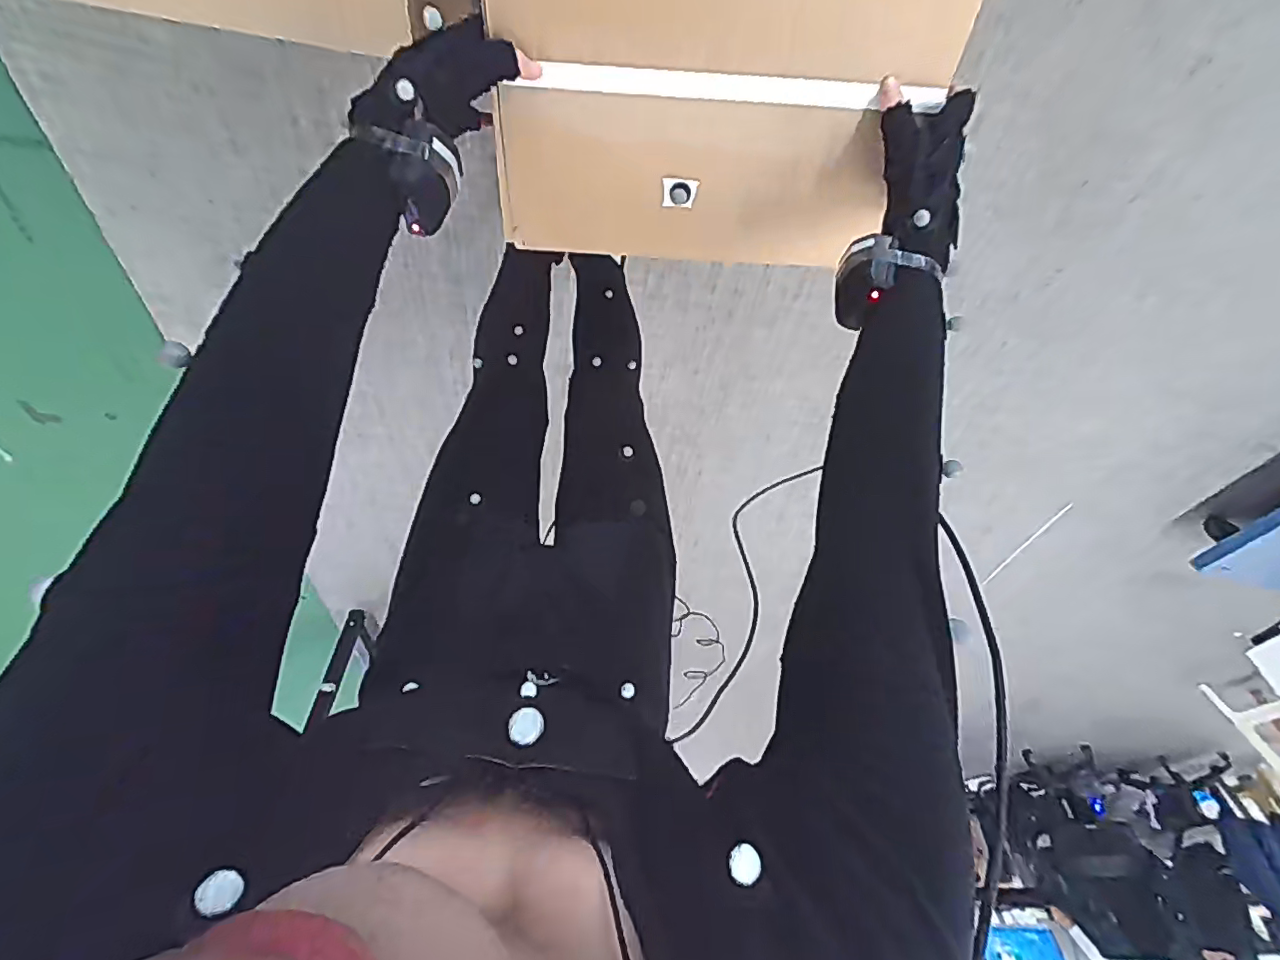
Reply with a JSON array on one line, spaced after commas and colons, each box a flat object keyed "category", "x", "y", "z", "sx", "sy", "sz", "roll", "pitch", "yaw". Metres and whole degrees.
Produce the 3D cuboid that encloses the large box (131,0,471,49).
[{"category": "large box", "x": -0.430, "y": -0.732, "z": 0.595, "sx": 0.408, "sy": 0.320, "sz": 0.320, "roll": 7, "pitch": 137, "yaw": -6}]
